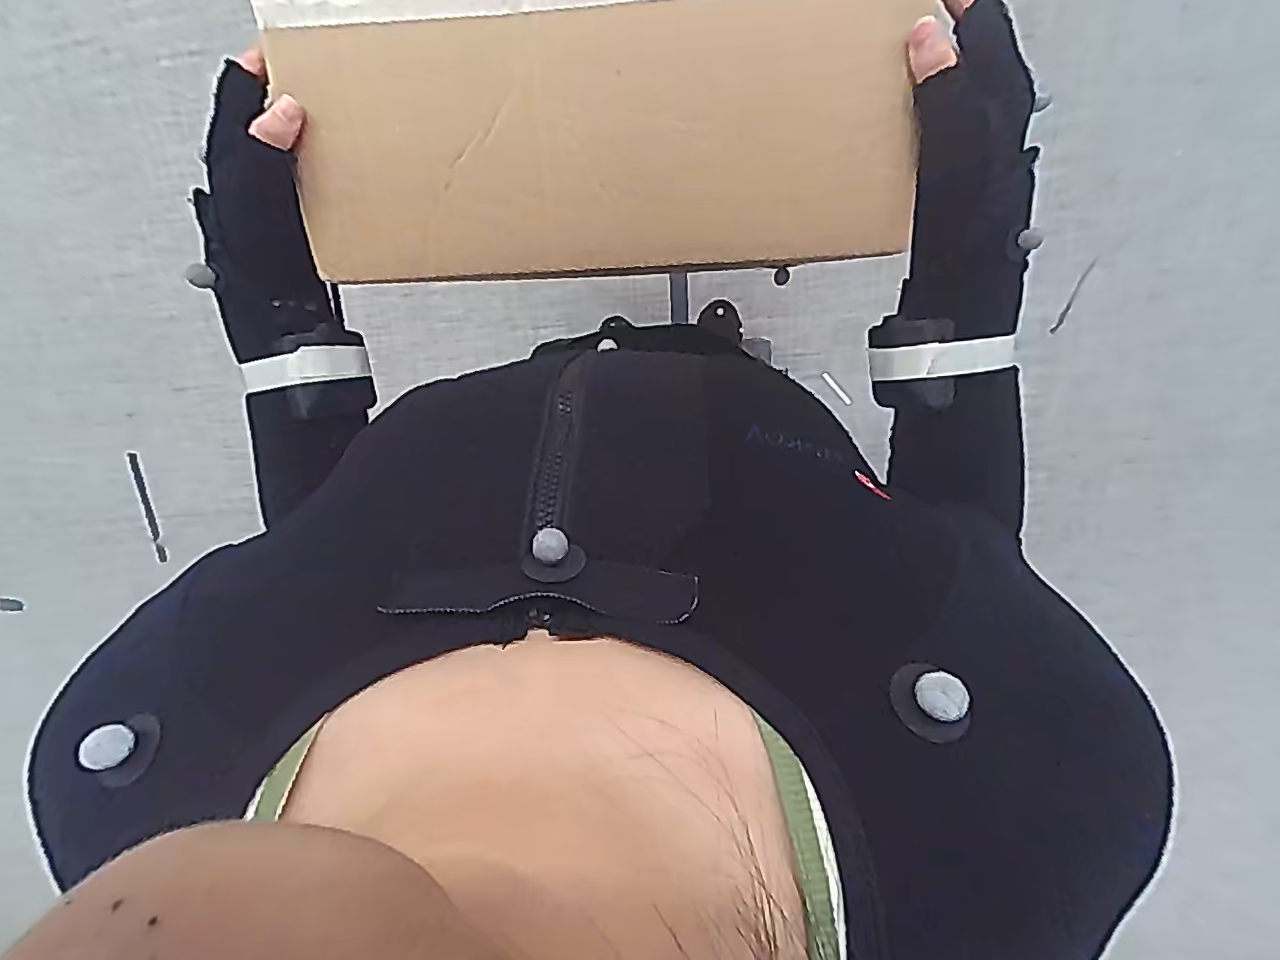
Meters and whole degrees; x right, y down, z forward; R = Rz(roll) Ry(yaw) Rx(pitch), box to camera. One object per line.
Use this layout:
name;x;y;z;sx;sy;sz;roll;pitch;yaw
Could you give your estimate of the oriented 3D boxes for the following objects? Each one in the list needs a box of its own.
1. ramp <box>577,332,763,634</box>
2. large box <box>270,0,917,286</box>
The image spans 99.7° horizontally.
ramp;0.116;0.076;1.626;0.509;0.206;0.991;-5;107;4
large box;-0.025;-0.347;0.467;0.408;0.320;0.320;-2;110;2
